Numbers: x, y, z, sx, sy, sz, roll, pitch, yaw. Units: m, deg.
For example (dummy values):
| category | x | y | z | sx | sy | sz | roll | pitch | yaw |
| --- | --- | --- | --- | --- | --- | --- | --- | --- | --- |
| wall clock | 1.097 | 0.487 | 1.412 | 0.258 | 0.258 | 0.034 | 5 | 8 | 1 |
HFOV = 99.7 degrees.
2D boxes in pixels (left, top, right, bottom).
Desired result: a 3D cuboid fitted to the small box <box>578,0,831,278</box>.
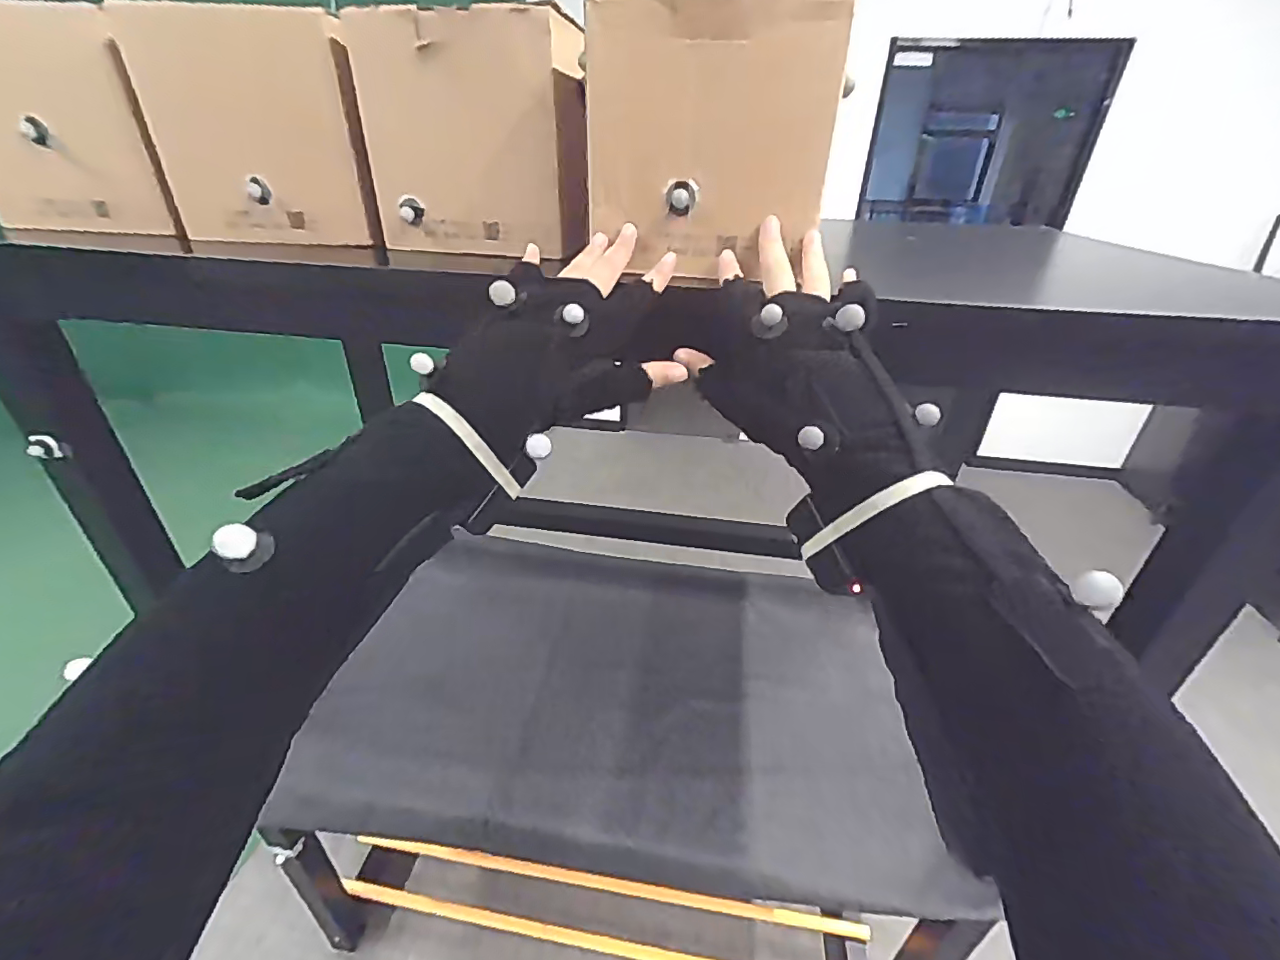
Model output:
| category | x | y | z | sx | sy | sz | roll | pitch | yaw |
| --- | --- | --- | --- | --- | --- | --- | --- | --- | --- |
| small box | 0.049 | -0.275 | 0.450 | 0.168 | 0.176 | 0.179 | 6 | 31 | 8 |

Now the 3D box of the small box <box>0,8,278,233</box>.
| category | x | y | z | sx | sy | sz | roll | pitch | yaw |
| --- | --- | --- | --- | --- | --- | --- | --- | --- | --- |
| small box | -0.513 | -0.352 | 0.551 | 0.168 | 0.176 | 0.179 | 4 | 29 | 0 |
